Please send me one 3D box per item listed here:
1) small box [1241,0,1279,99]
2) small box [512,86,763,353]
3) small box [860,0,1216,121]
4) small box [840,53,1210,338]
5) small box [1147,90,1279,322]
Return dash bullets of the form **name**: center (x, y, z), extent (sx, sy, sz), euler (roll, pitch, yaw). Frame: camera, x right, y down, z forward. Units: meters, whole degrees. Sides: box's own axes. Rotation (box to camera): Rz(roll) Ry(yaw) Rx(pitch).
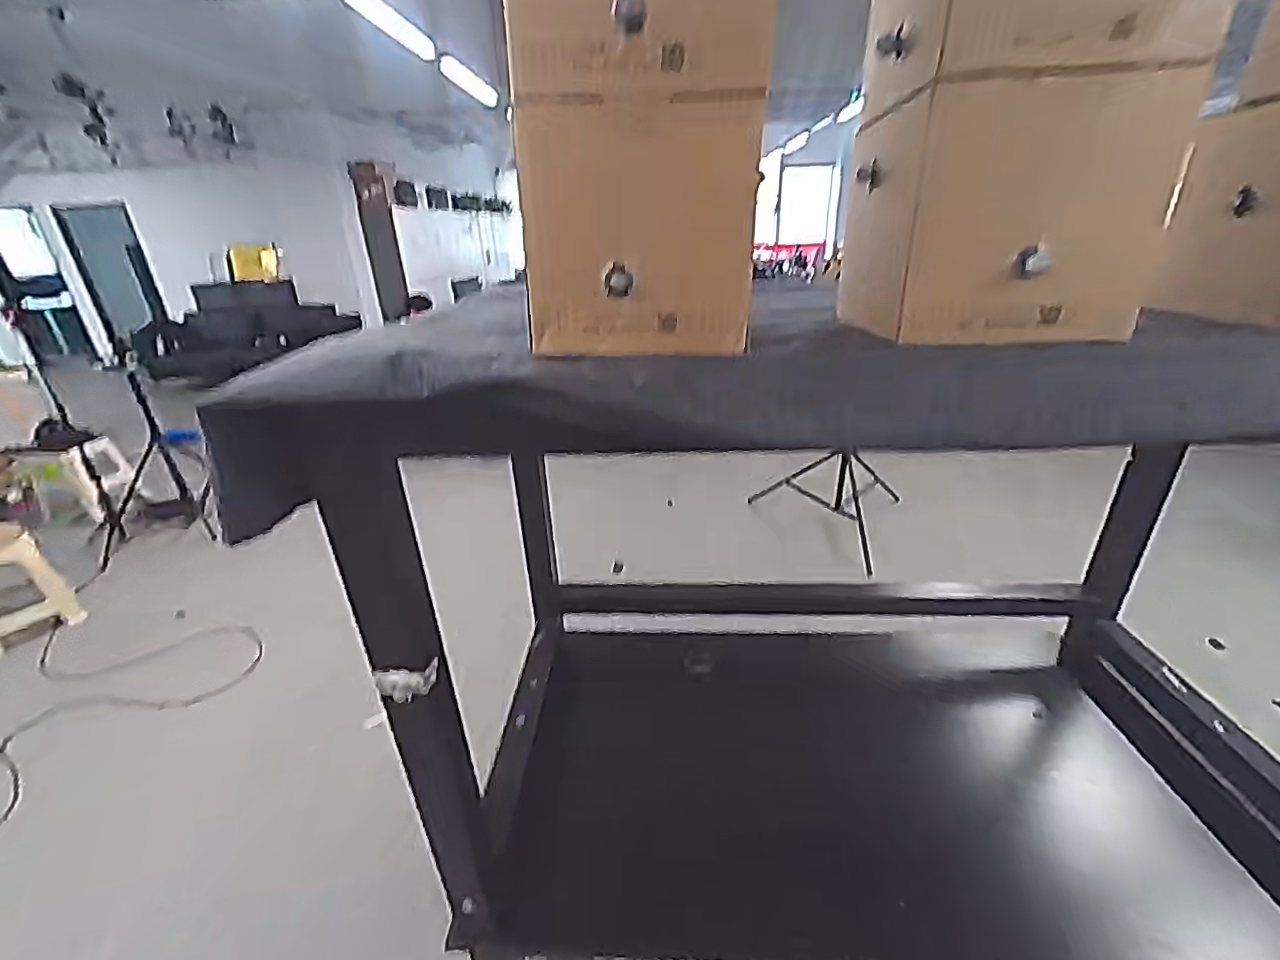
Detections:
- **small box**: center (0.564, -0.353, 0.333), extent (0.168, 0.176, 0.179), euler (-1, 23, 1)
- **small box**: center (0.000, -0.206, 0.453), extent (0.168, 0.176, 0.179), euler (0, 23, 2)
- **small box**: center (0.269, -0.365, 0.377), extent (0.168, 0.176, 0.179), euler (0, 23, 4)
- **small box**: center (0.272, -0.212, 0.439), extent (0.168, 0.176, 0.179), euler (-1, 23, 4)
- **small box**: center (0.571, -0.218, 0.428), extent (0.168, 0.176, 0.179), euler (1, 23, 7)
